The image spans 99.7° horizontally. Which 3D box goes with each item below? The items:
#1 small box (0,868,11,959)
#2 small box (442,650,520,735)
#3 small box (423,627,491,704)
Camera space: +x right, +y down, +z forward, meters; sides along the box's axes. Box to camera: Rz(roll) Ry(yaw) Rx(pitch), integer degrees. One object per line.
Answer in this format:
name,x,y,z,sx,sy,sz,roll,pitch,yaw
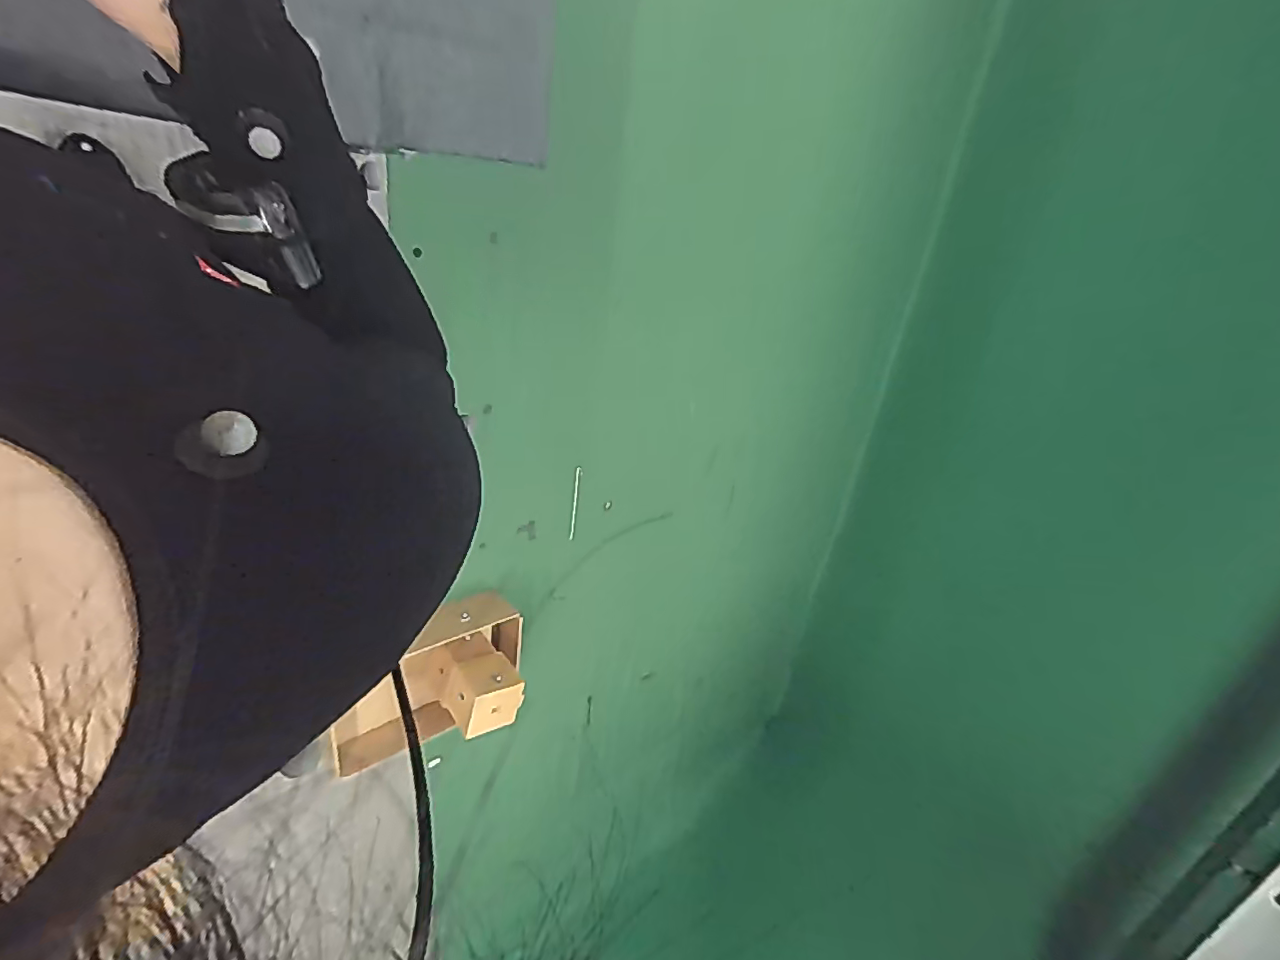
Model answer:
small box,-1.359,0.901,1.047,0.168,0.176,0.179,0,113,-43
small box,-0.520,0.682,1.753,0.179,0.176,0.168,0,114,-46
small box,-0.628,0.636,1.868,0.168,0.176,0.179,6,109,-47
